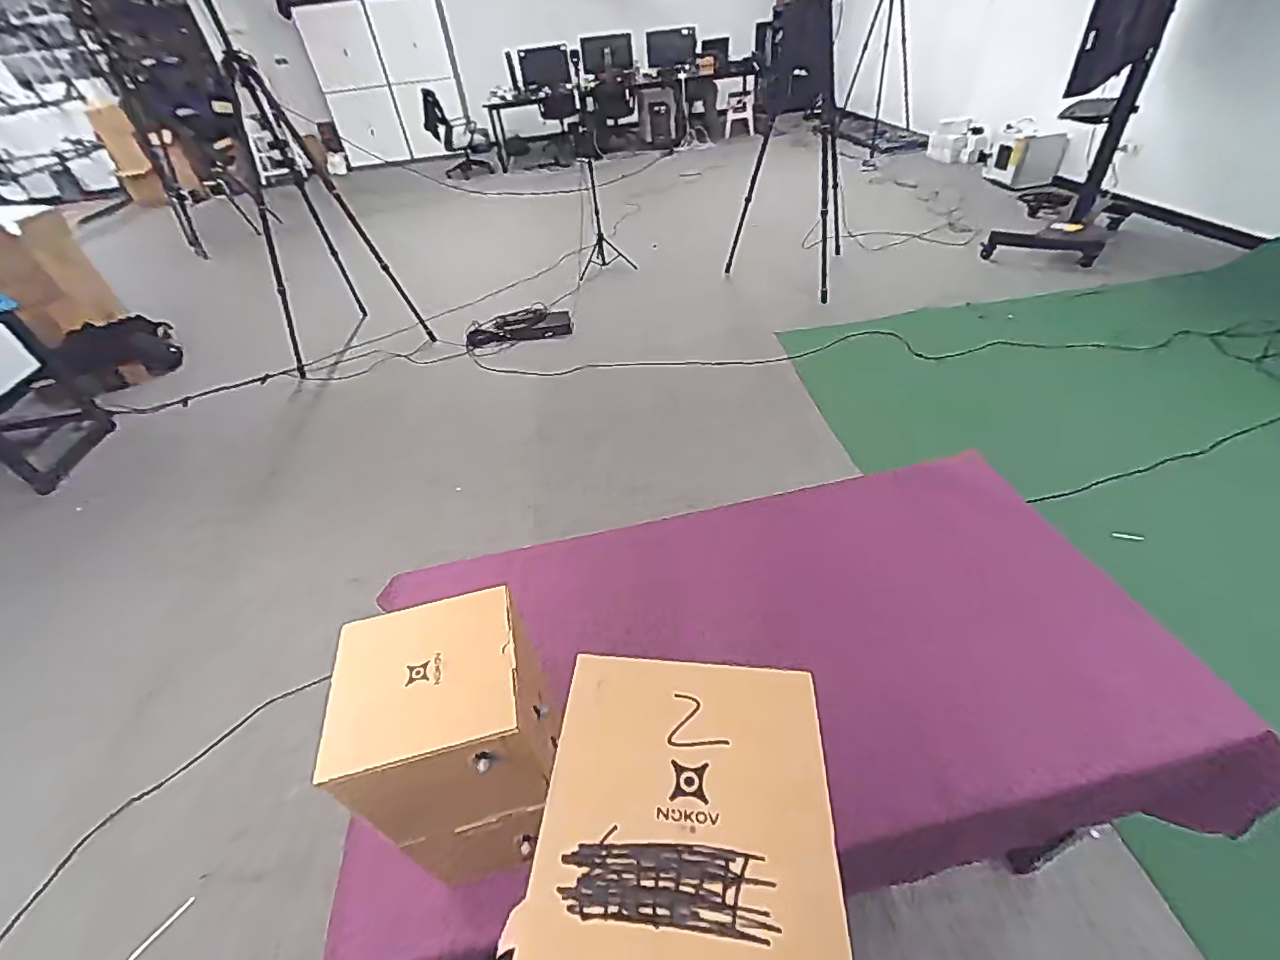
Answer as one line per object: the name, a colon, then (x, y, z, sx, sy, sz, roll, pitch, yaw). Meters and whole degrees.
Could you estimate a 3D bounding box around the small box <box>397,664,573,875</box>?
small box: (-0.184, 0.367, 0.682, 0.168, 0.176, 0.179, -12, 41, -7)

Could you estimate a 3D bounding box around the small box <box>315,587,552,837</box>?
small box: (-0.203, 0.246, 0.575, 0.179, 0.176, 0.168, -12, 42, -8)
